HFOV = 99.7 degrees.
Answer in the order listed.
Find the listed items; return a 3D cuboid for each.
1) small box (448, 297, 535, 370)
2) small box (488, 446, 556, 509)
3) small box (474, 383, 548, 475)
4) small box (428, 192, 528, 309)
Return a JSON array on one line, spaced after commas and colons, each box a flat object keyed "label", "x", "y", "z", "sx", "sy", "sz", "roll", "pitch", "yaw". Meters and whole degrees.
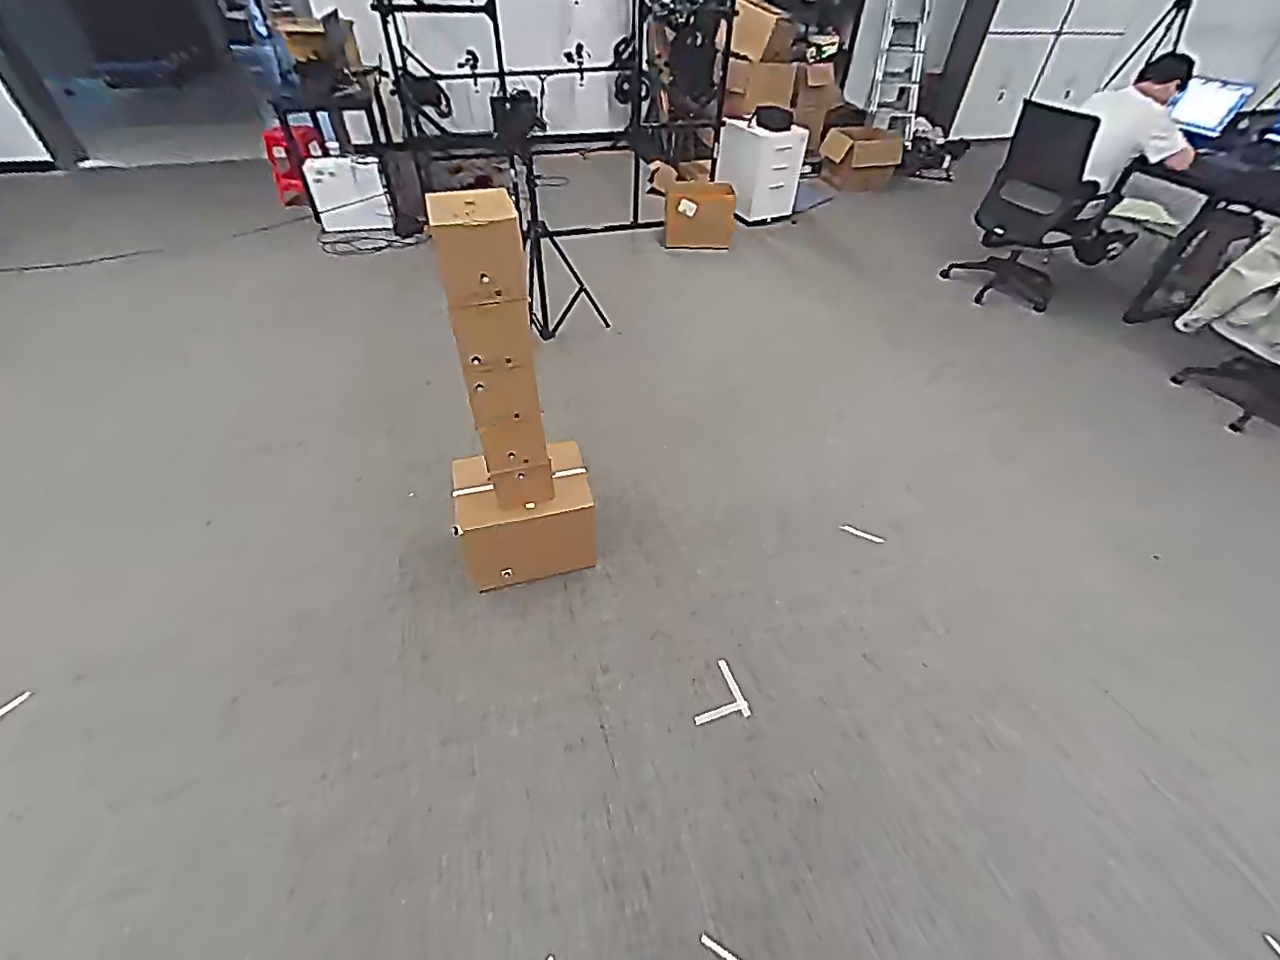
[{"label": "small box", "x": -0.344, "y": -0.368, "z": 1.255, "sx": 0.168, "sy": 0.176, "sz": 0.179, "roll": -10, "pitch": 47, "yaw": -12}, {"label": "small box", "x": -0.356, "y": -0.033, "z": 1.613, "sx": 0.179, "sy": 0.176, "sz": 0.168, "roll": -12, "pitch": 48, "yaw": -15}, {"label": "small box", "x": -0.354, "y": -0.141, "z": 1.492, "sx": 0.168, "sy": 0.176, "sz": 0.179, "roll": -12, "pitch": 48, "yaw": -13}, {"label": "small box", "x": -0.339, "y": -0.482, "z": 1.136, "sx": 0.168, "sy": 0.176, "sz": 0.179, "roll": -13, "pitch": 48, "yaw": -13}]
